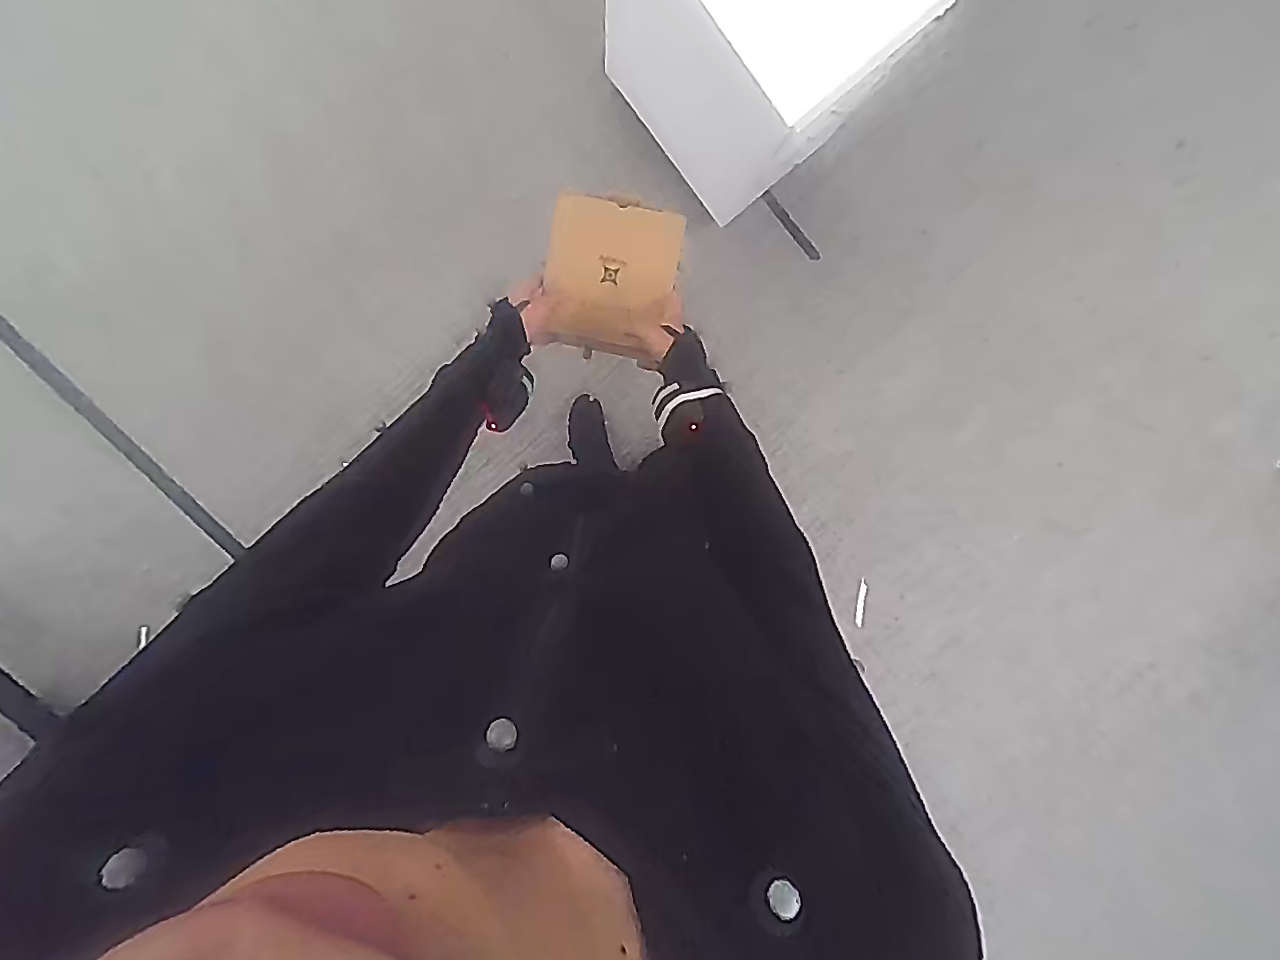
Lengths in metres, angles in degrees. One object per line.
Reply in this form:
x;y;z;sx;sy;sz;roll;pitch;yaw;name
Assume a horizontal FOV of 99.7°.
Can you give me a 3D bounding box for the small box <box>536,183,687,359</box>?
-0.042;-0.278;0.761;0.168;0.176;0.179;11;98;-5;small box
